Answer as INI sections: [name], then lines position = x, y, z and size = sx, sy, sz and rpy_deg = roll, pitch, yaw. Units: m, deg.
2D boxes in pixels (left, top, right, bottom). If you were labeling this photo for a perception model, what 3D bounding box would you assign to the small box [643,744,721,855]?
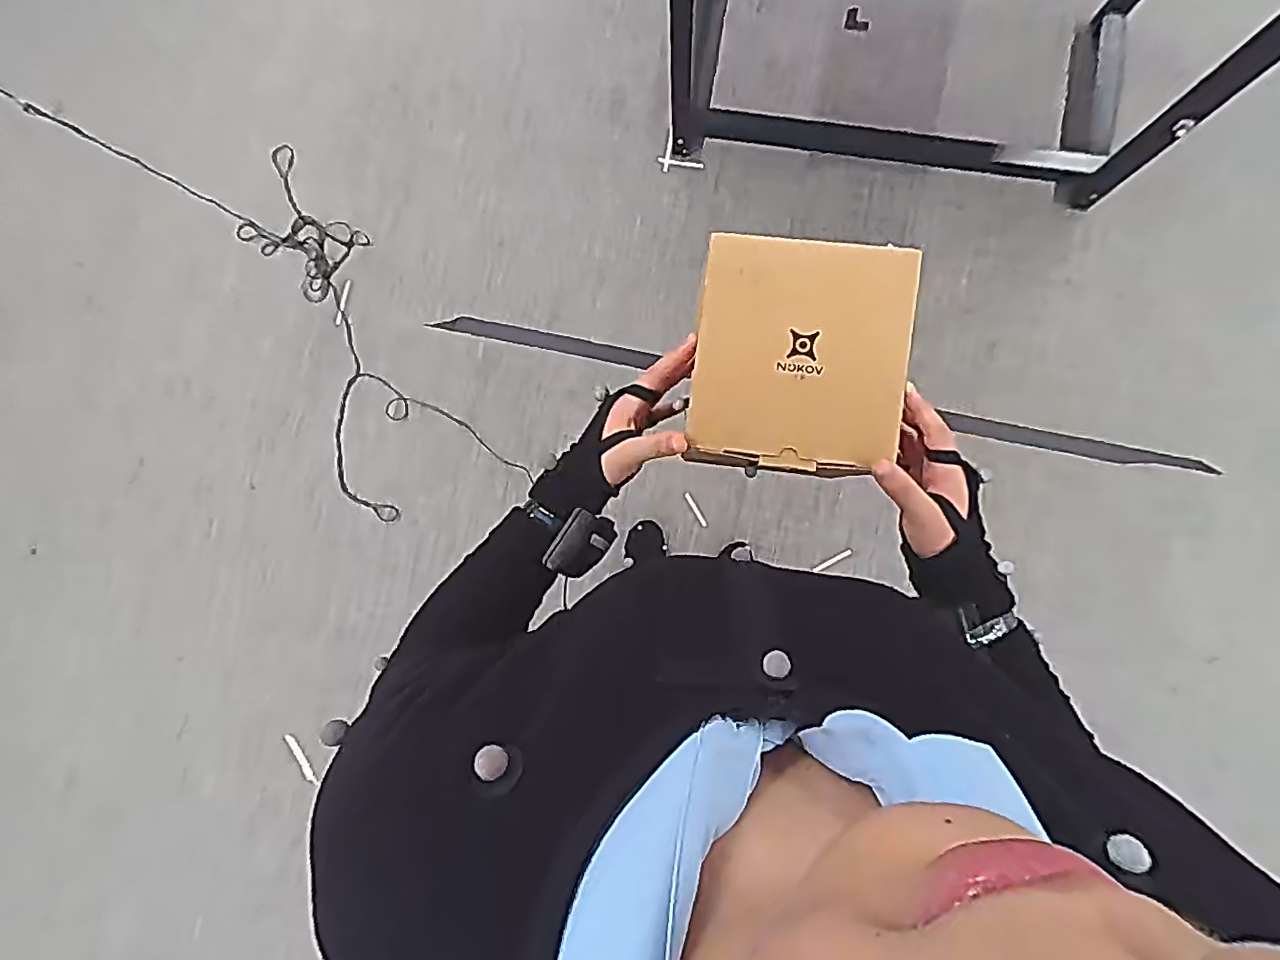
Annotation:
[small box]
position = 0.102, 0.776, 1.334
size = 0.168, 0.176, 0.179
rpy_deg = 6, 86, 5
